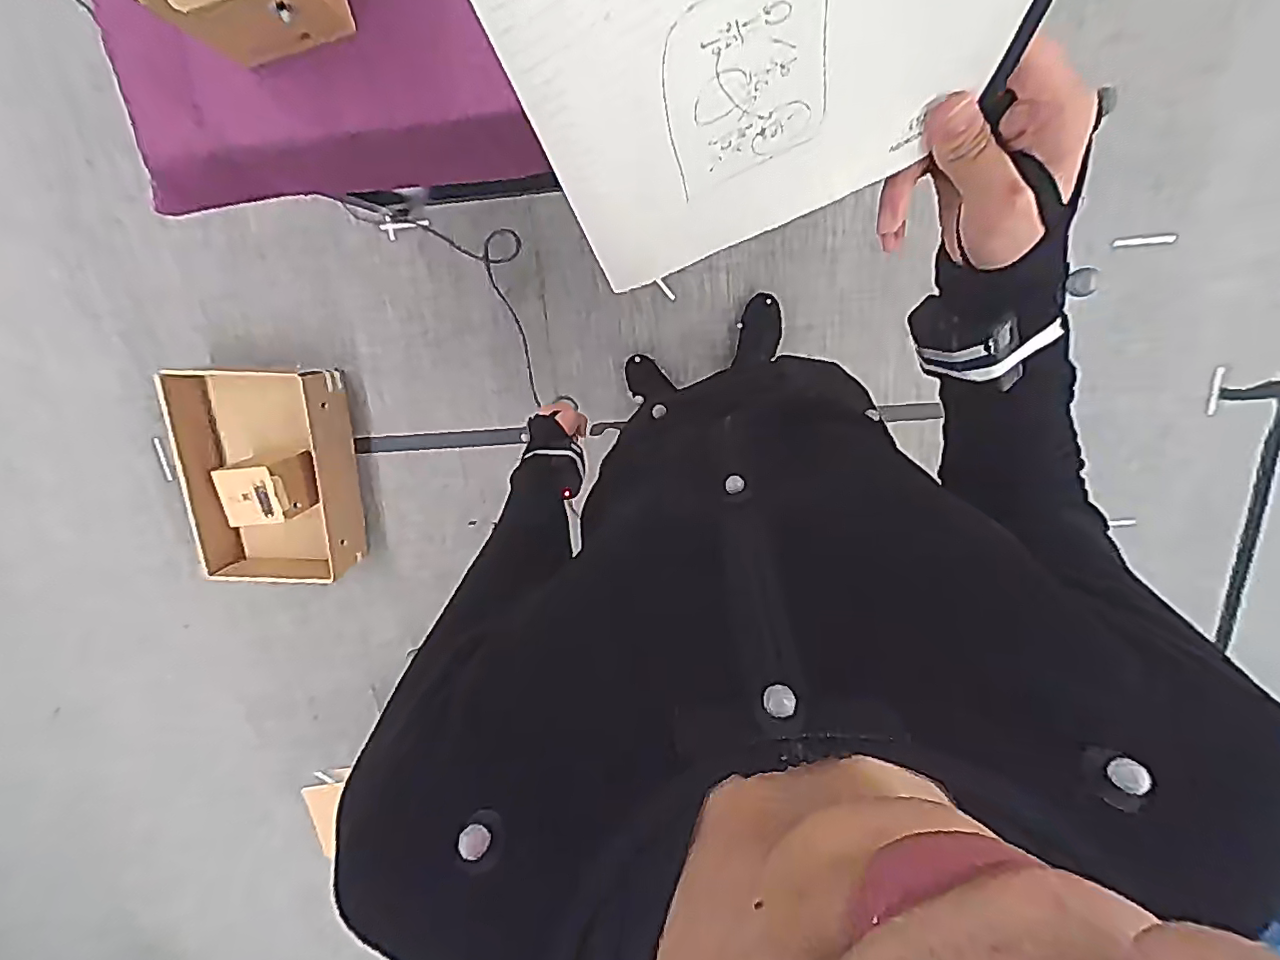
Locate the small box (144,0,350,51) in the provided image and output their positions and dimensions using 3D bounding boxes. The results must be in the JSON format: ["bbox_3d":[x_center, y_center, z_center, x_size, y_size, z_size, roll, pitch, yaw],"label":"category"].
[{"bbox_3d":[-0.473,-0.636,0.621,0.168,0.176,0.179,-12,107,5],"label":"small box"}]
